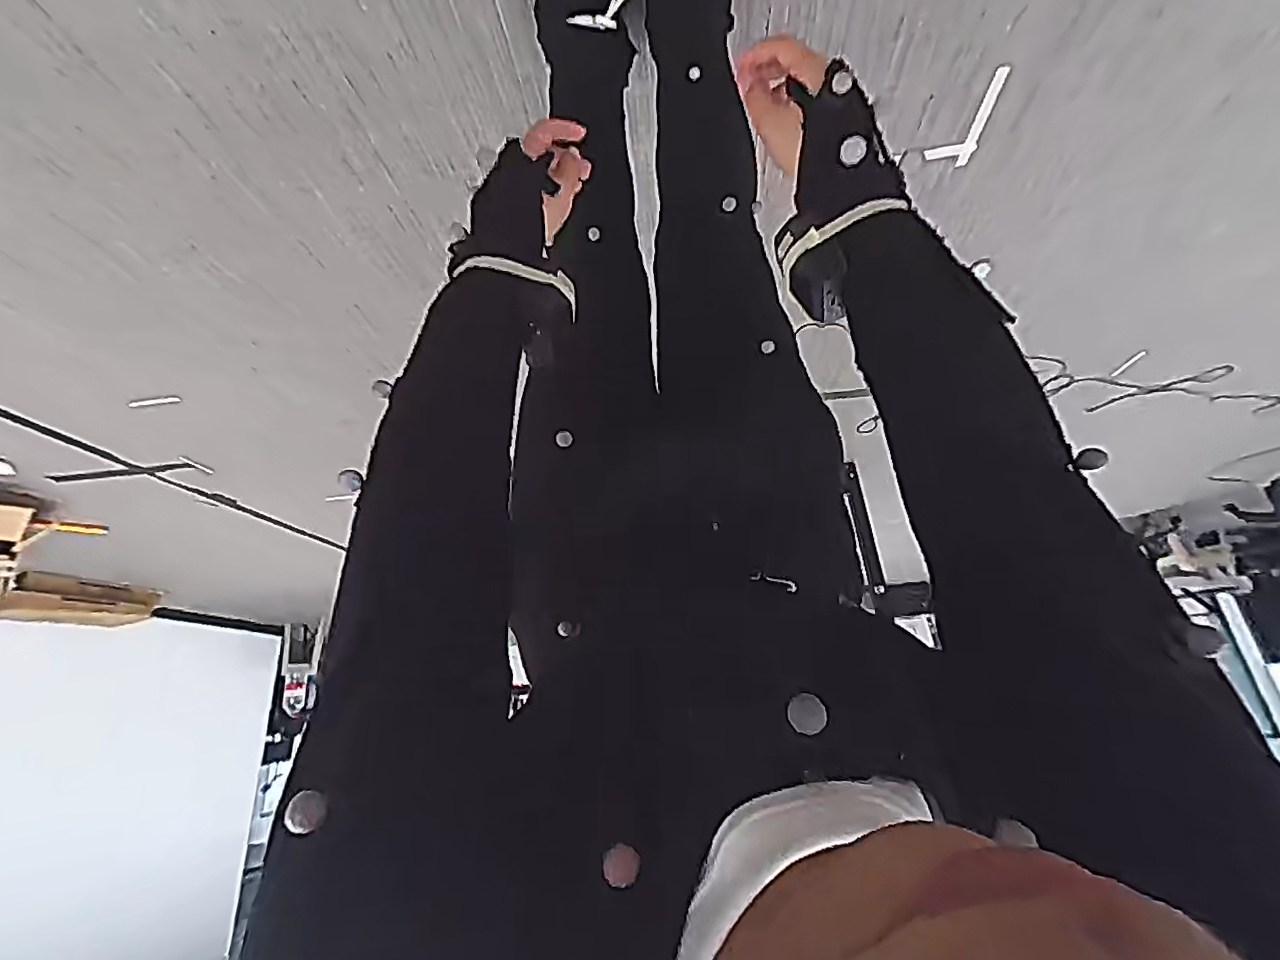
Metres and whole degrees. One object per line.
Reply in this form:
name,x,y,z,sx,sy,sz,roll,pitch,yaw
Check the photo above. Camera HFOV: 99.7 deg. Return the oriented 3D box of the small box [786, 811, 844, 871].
small box,0.685,1.416,2.131,0.179,0.176,0.168,-7,158,8
